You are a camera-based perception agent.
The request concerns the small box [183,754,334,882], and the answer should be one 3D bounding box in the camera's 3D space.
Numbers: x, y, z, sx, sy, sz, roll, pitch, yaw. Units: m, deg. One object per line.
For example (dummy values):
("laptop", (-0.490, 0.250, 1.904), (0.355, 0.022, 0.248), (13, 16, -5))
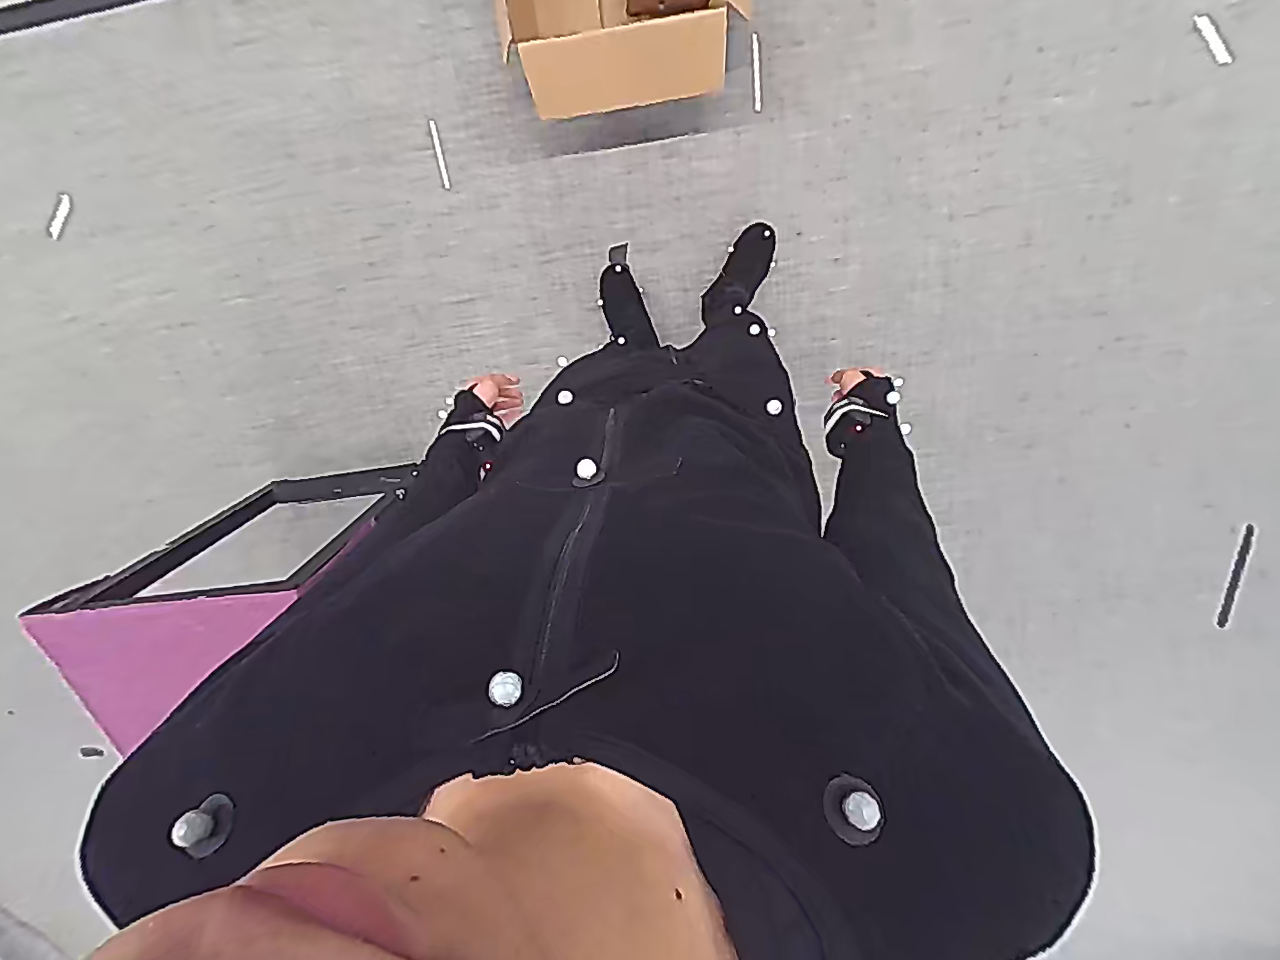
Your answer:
("small box", (-0.818, 0.731, 1.179), (0.179, 0.176, 0.168), (-12, 112, 7))
